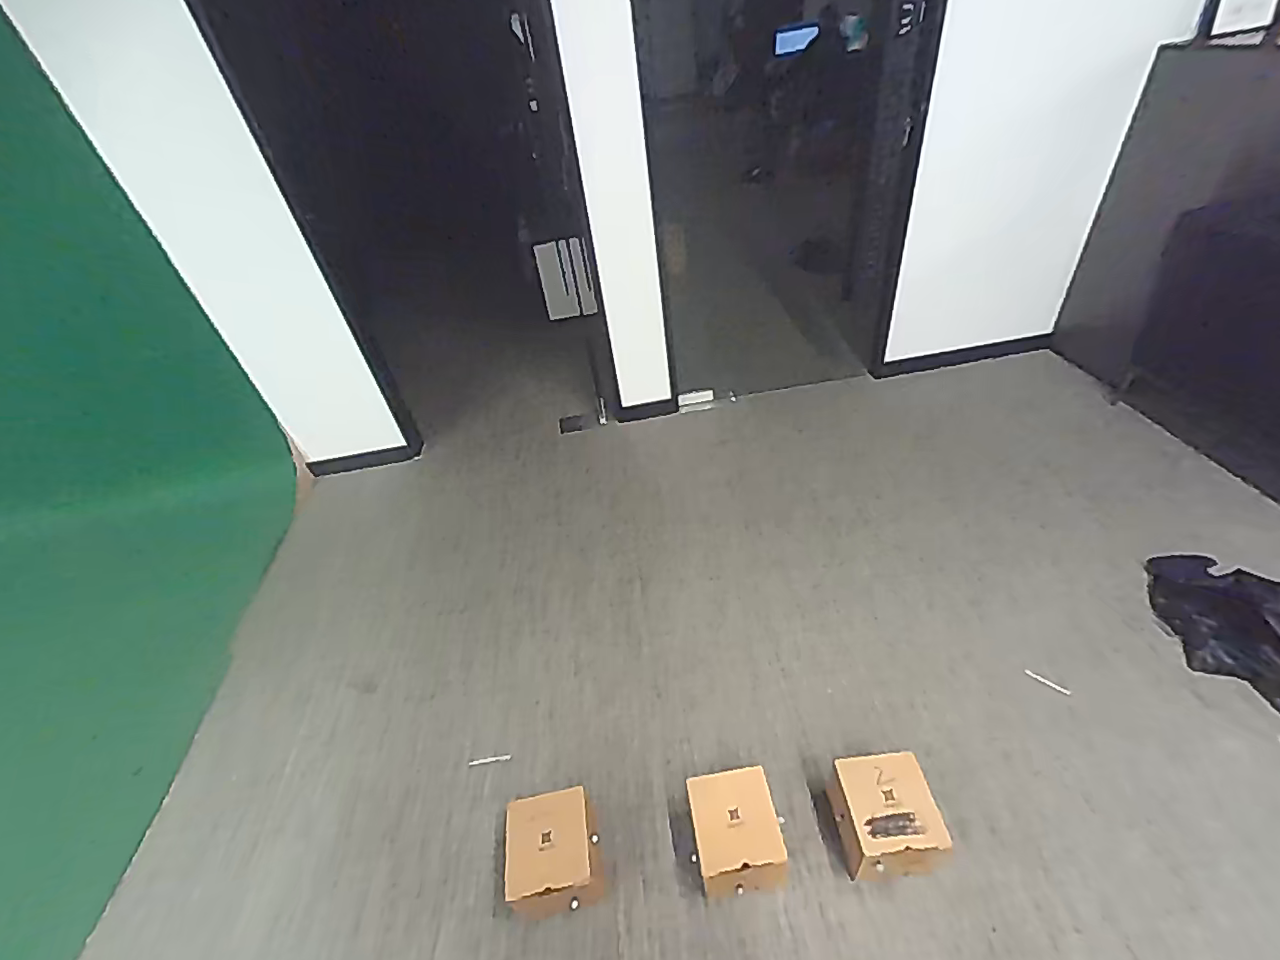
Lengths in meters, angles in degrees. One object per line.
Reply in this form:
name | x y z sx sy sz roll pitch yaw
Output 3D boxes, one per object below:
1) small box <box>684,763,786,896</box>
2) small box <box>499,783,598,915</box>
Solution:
small box | 0.186 0.715 1.107 0.168 0.176 0.179 -9 40 -2
small box | -0.186 0.765 1.114 0.168 0.176 0.179 -11 39 -4
